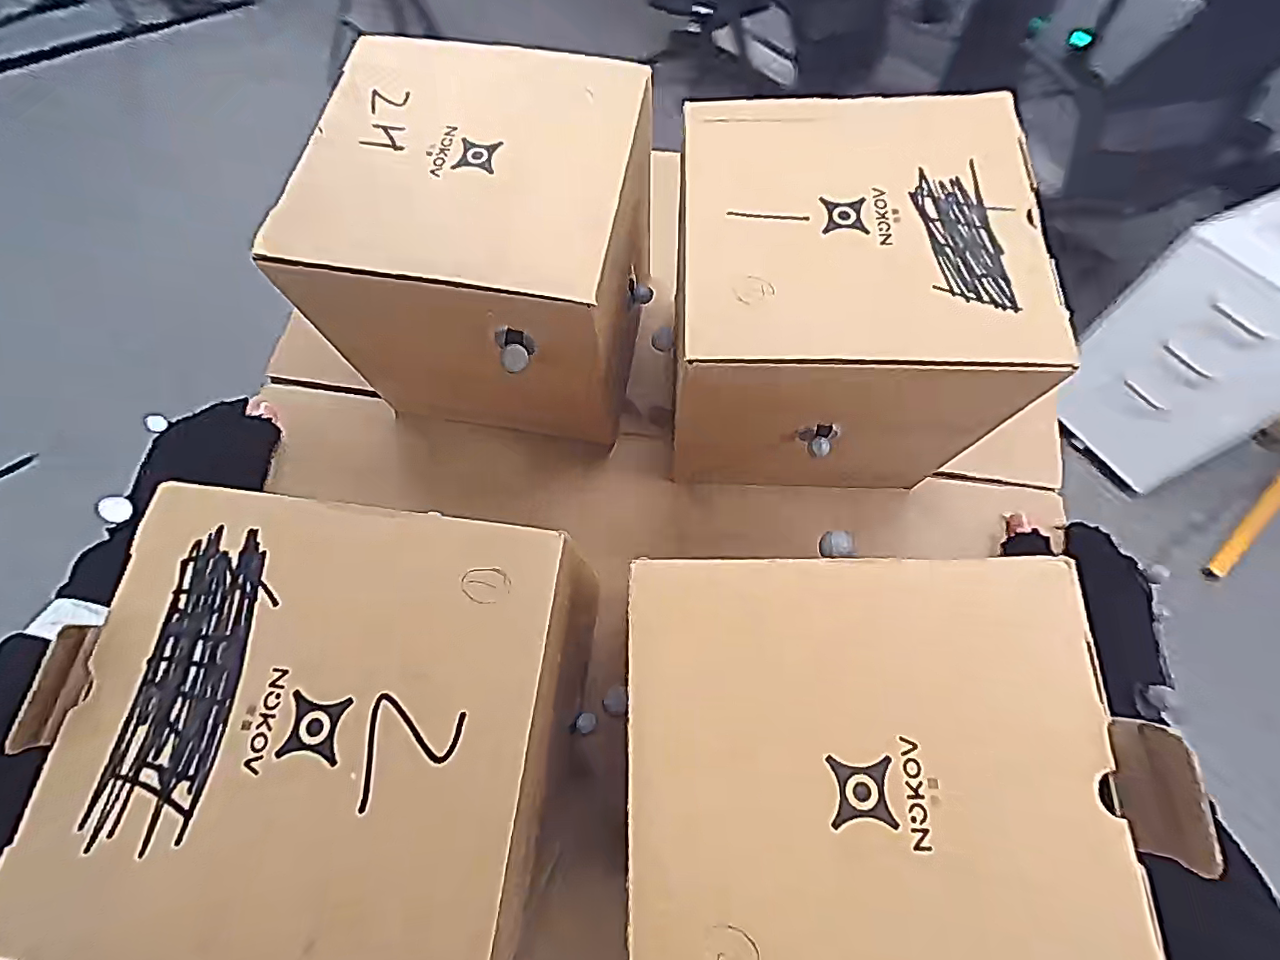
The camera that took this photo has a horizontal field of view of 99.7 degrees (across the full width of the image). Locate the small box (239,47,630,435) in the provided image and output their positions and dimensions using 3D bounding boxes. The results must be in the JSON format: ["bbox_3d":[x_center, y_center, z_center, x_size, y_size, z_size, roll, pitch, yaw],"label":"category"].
[{"bbox_3d":[-0.105,-0.144,0.370,0.179,0.176,0.168,9,71,4],"label":"small box"}]
